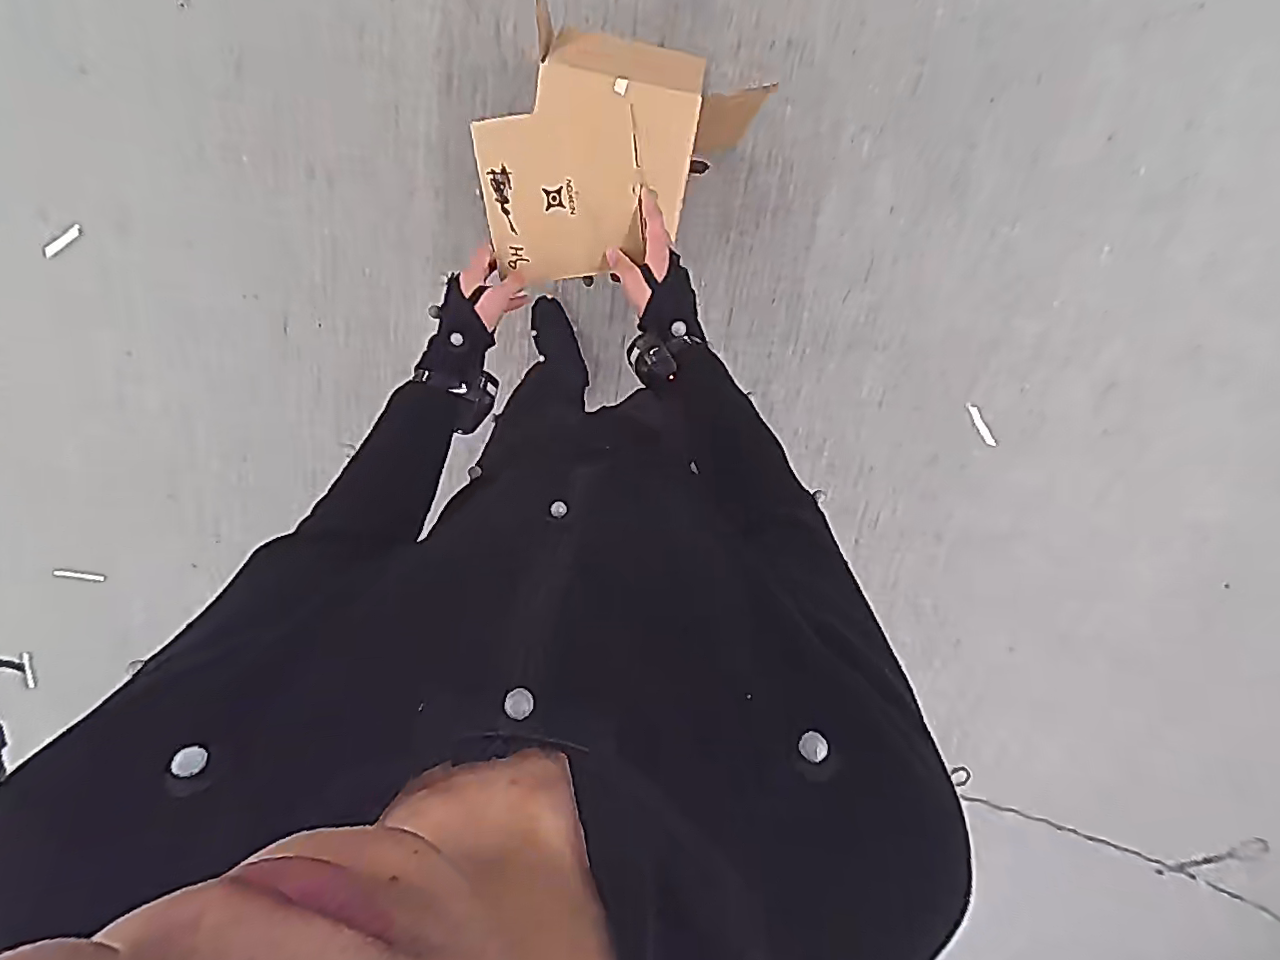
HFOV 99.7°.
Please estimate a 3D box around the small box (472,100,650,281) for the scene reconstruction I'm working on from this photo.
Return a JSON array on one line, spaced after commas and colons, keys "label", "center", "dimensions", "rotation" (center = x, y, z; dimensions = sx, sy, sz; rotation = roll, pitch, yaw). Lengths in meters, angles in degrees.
[{"label": "small box", "center": [-0.081, -0.343, 0.661], "dimensions": [0.179, 0.176, 0.168], "rotation": [-4, 114, 4]}]
